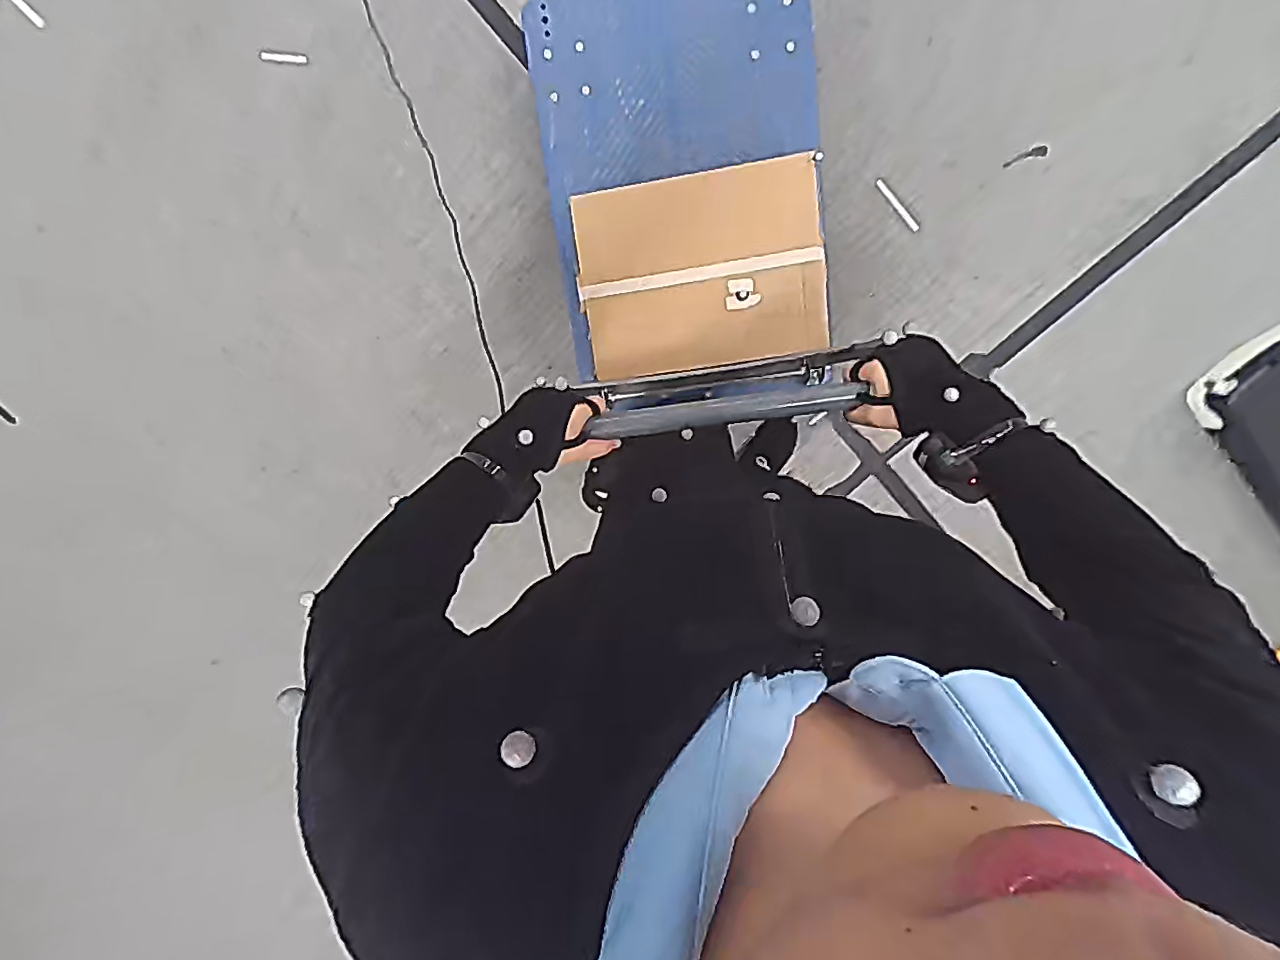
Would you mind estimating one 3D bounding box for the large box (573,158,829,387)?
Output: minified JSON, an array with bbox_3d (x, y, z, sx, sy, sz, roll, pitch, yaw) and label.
[{"bbox_3d":[0.116,-0.368,1.058,0.408,0.320,0.320,-7,101,7],"label":"large box"}]
